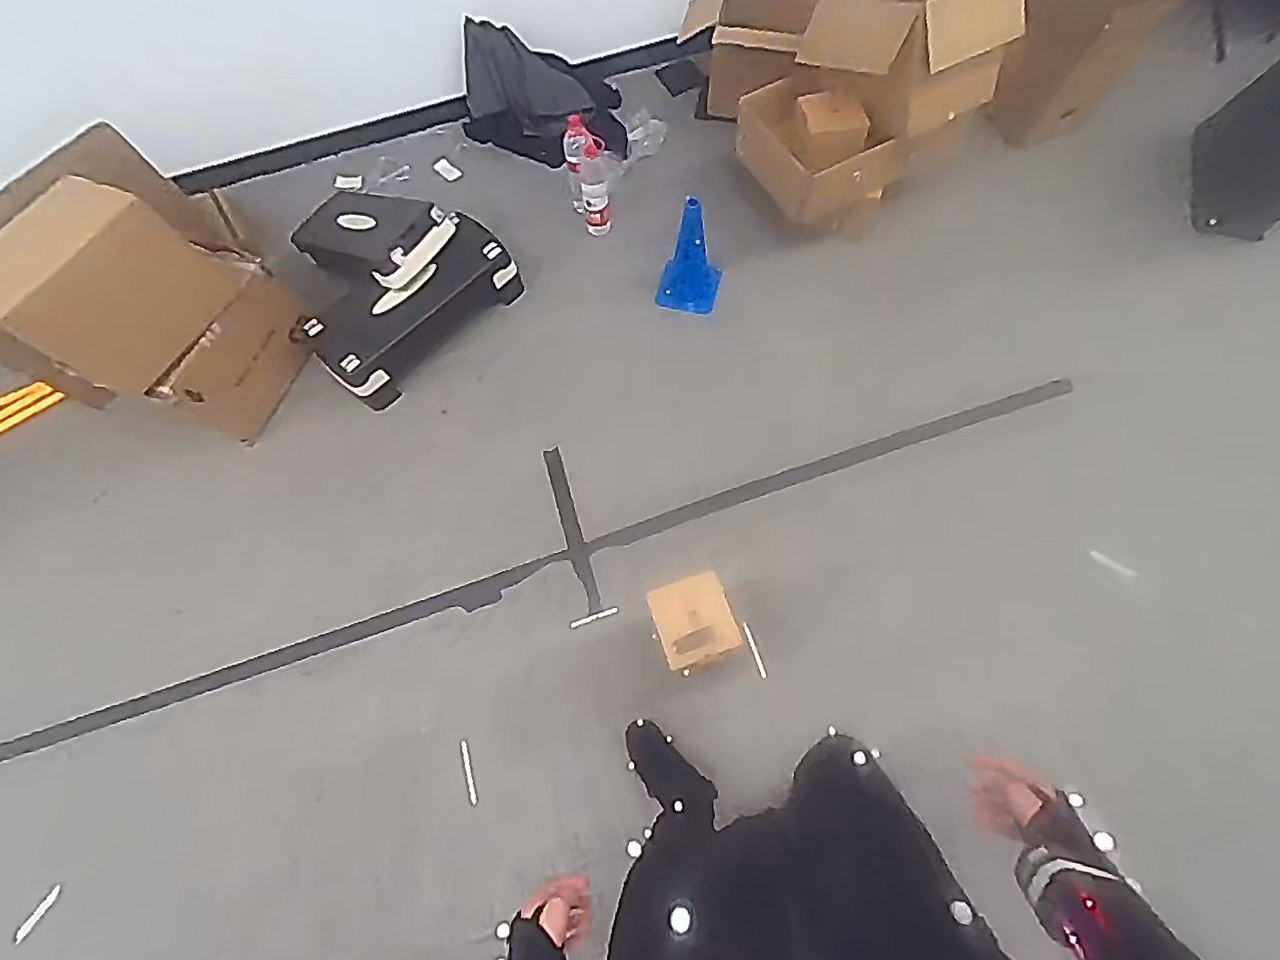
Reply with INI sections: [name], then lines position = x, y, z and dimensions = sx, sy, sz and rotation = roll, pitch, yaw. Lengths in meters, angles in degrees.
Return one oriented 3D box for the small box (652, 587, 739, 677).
[small box]
position = 0.137, 0.397, 1.394
dimensions = 0.168, 0.176, 0.179
rotation = -21, 70, -5
